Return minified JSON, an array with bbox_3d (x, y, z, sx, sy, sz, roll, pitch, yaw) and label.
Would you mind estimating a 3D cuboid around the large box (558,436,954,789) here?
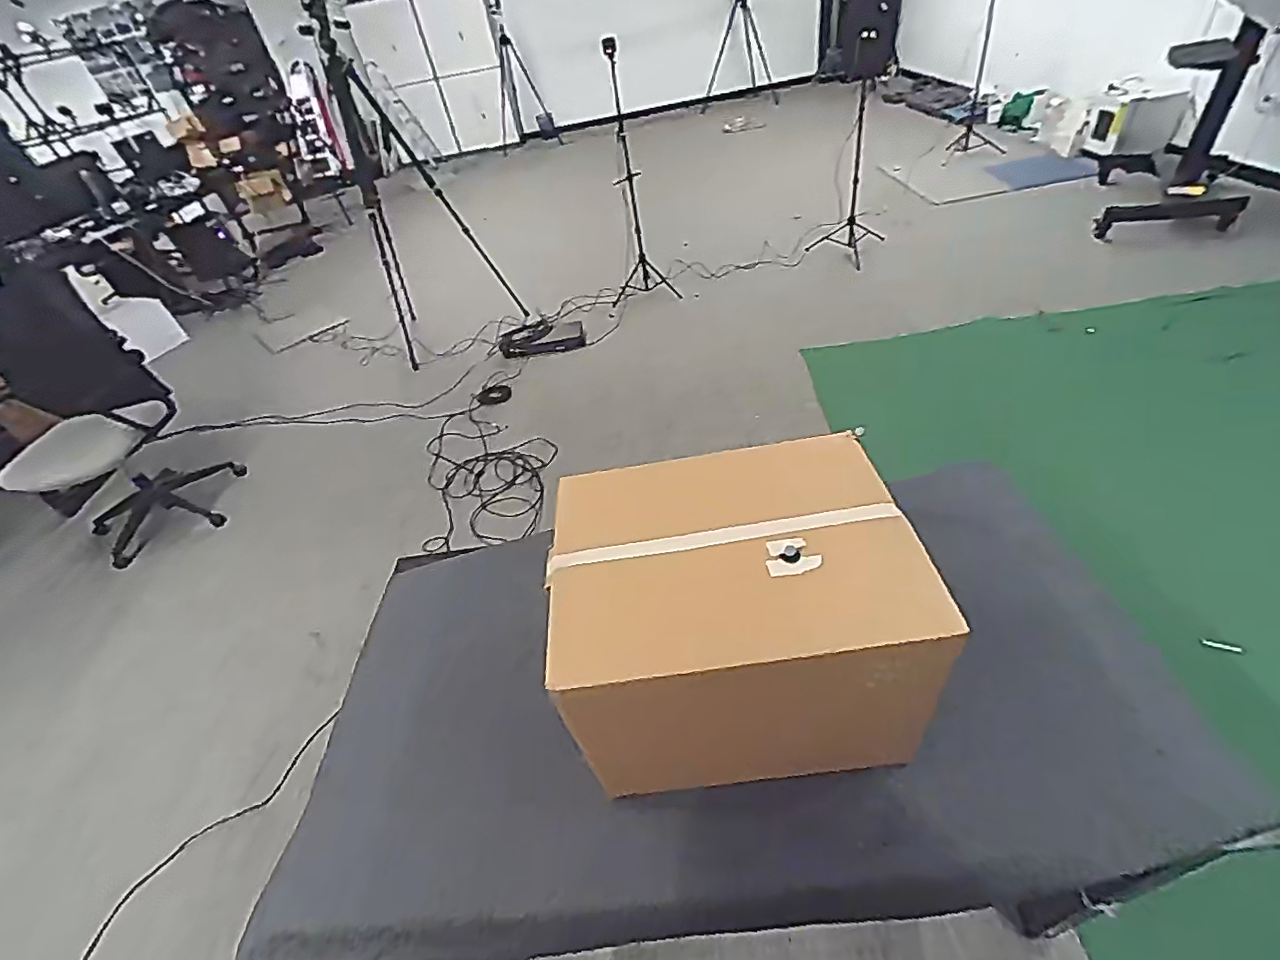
[{"bbox_3d":[0.121,0.182,0.739,0.408,0.320,0.320,-9,43,3],"label":"large box"}]
